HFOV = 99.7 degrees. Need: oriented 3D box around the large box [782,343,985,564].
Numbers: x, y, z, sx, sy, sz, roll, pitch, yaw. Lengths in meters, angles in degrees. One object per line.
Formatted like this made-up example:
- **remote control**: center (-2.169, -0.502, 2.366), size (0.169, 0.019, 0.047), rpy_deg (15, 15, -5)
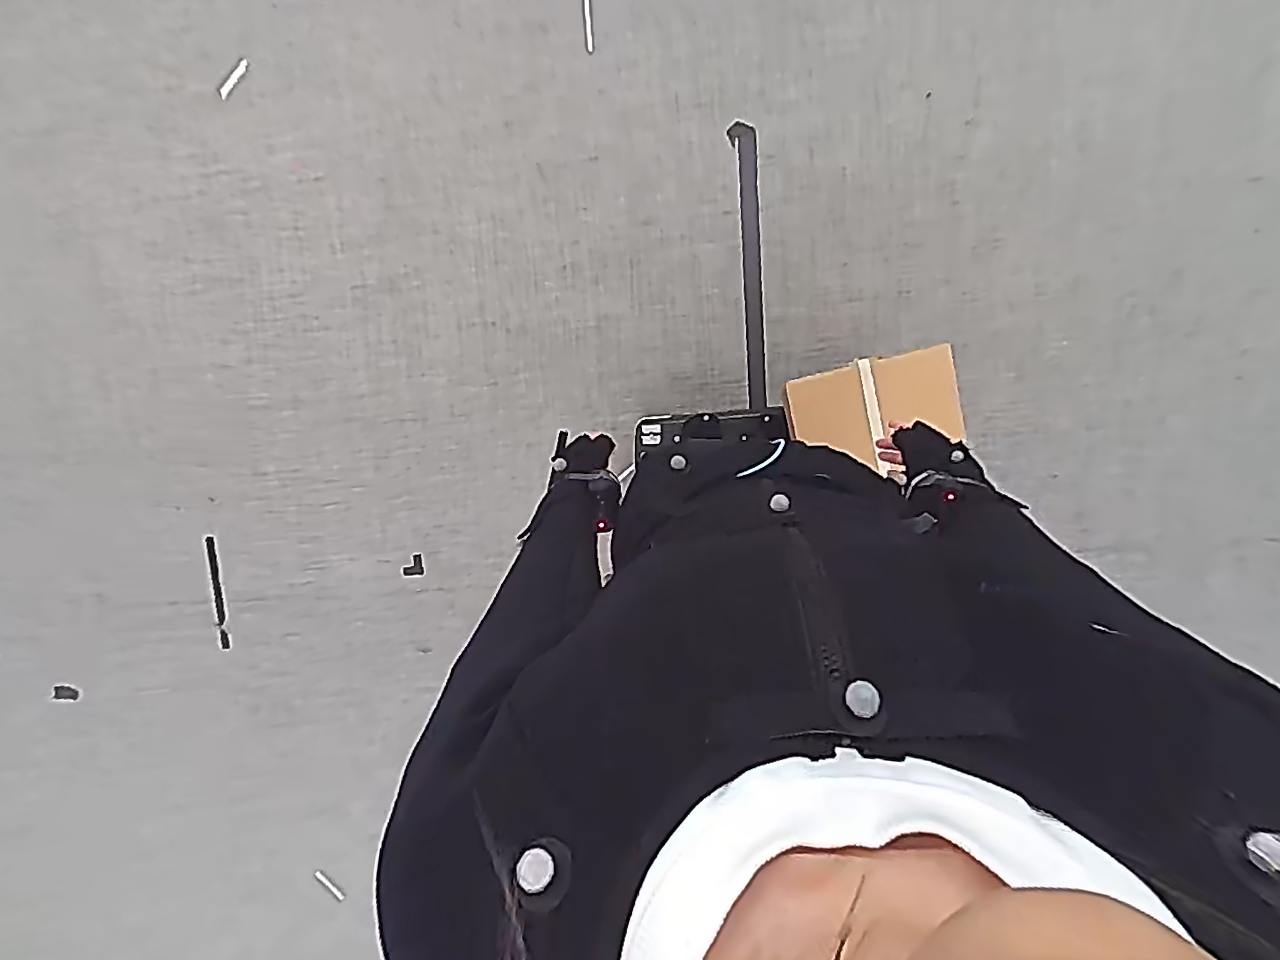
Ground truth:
- **large box**: center (0.526, -0.067, 1.236), size (0.320, 0.320, 0.408), rpy_deg (-12, 96, 15)
